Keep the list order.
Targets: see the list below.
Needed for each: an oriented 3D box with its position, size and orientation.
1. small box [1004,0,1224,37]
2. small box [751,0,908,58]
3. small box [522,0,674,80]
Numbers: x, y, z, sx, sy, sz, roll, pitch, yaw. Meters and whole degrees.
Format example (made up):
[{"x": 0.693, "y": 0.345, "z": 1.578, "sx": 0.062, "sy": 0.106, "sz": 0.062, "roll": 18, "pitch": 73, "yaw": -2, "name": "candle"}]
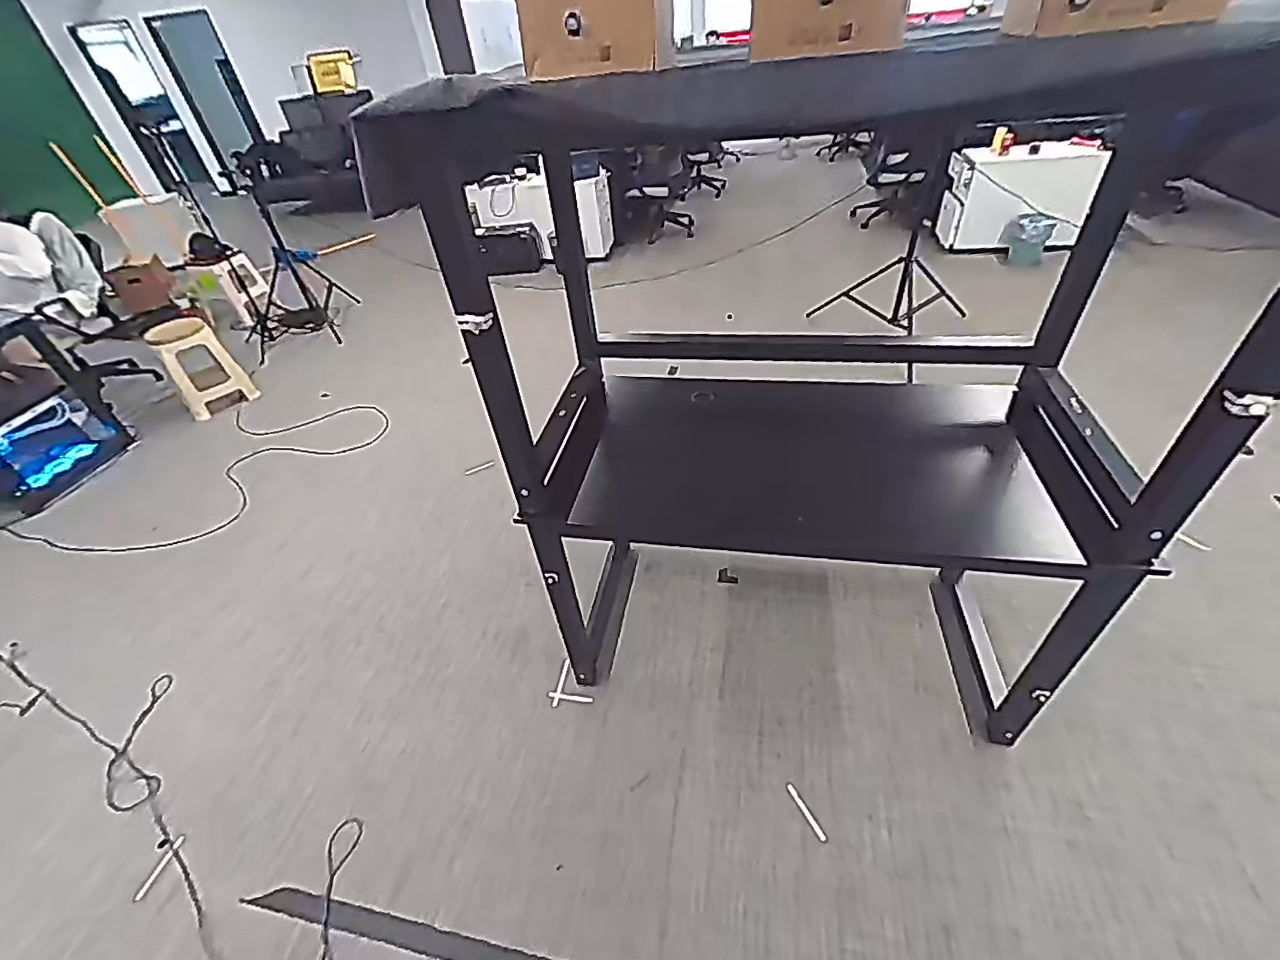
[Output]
[{"x": 0.512, "y": -0.580, "z": 0.562, "sx": 0.168, "sy": 0.176, "sz": 0.179, "roll": 6, "pitch": 40, "yaw": 15, "name": "small box"}, {"x": 0.218, "y": -0.596, "z": 0.620, "sx": 0.168, "sy": 0.176, "sz": 0.179, "roll": 4, "pitch": 39, "yaw": 13, "name": "small box"}, {"x": -0.048, "y": -0.610, "z": 0.675, "sx": 0.168, "sy": 0.176, "sz": 0.179, "roll": 4, "pitch": 40, "yaw": 10, "name": "small box"}]
